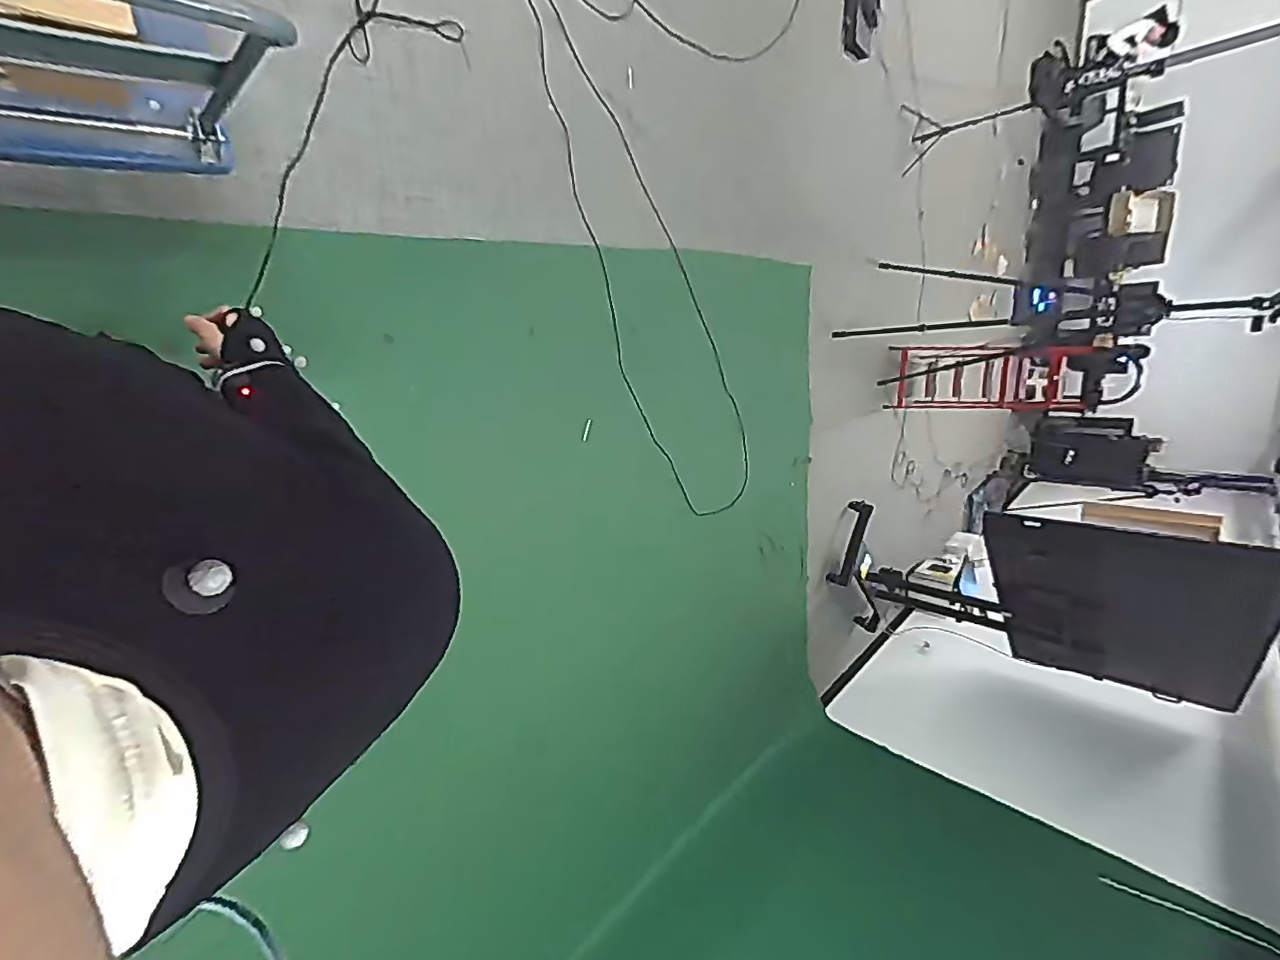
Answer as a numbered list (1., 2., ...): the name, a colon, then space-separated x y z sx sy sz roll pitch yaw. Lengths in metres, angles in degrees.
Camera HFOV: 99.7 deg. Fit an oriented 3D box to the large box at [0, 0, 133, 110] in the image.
1. large box: -1.006 -0.837 0.780 0.320 0.320 0.408 -19 110 -42
